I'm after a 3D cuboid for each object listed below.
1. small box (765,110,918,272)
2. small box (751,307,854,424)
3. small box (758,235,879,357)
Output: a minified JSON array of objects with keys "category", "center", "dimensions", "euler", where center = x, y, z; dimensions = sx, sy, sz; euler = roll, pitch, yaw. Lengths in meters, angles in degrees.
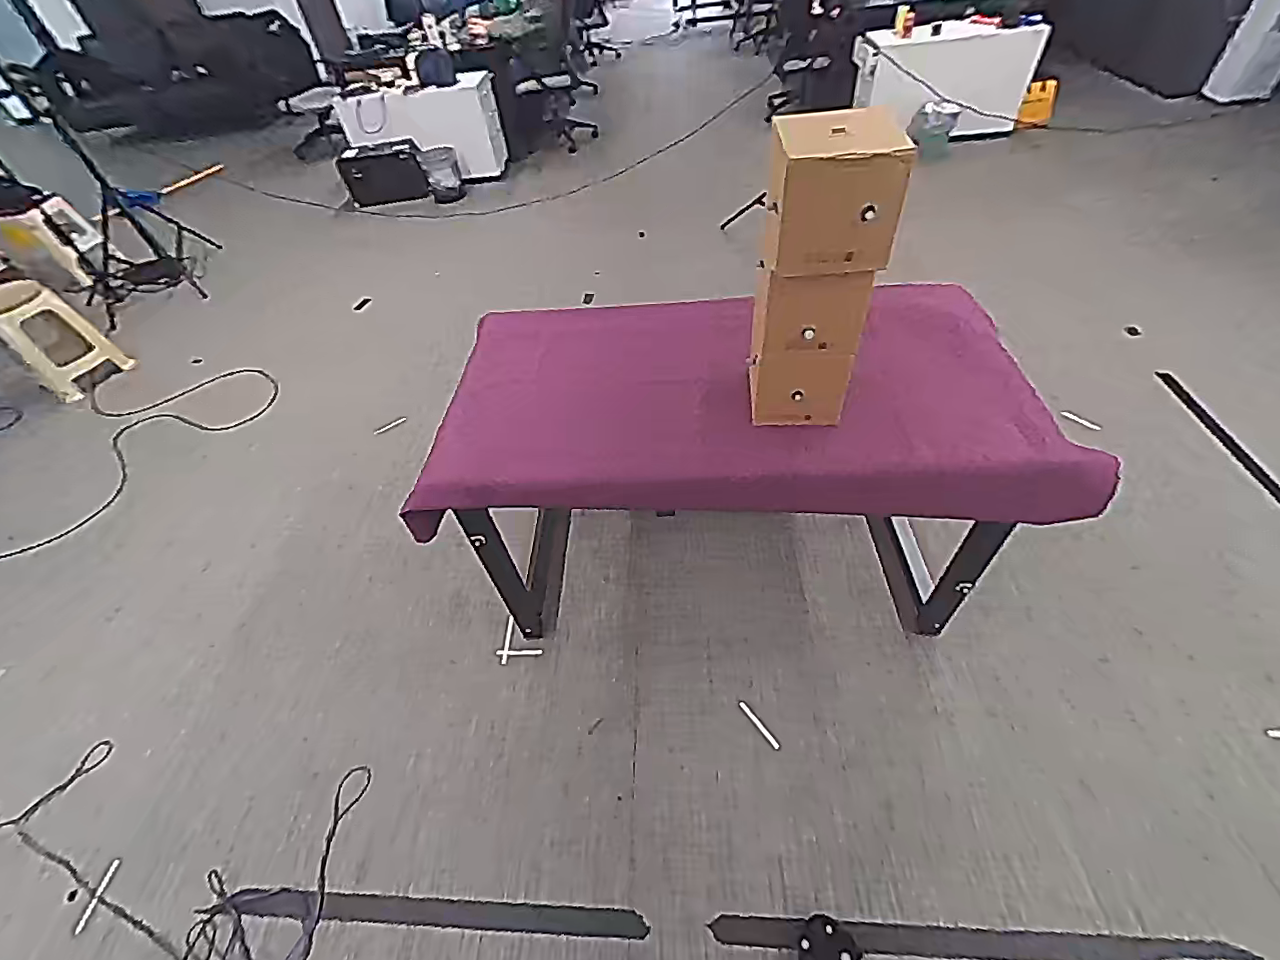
[{"category":"small box","center":[0.286,-0.426,0.810],"dimensions":[0.168,0.176,0.179],"euler":[-2,48,4]},{"category":"small box","center":[0.310,-0.225,1.067],"dimensions":[0.168,0.176,0.179],"euler":[1,49,7]},{"category":"small box","center":[0.299,-0.336,0.947],"dimensions":[0.168,0.176,0.179],"euler":[0,50,7]}]
